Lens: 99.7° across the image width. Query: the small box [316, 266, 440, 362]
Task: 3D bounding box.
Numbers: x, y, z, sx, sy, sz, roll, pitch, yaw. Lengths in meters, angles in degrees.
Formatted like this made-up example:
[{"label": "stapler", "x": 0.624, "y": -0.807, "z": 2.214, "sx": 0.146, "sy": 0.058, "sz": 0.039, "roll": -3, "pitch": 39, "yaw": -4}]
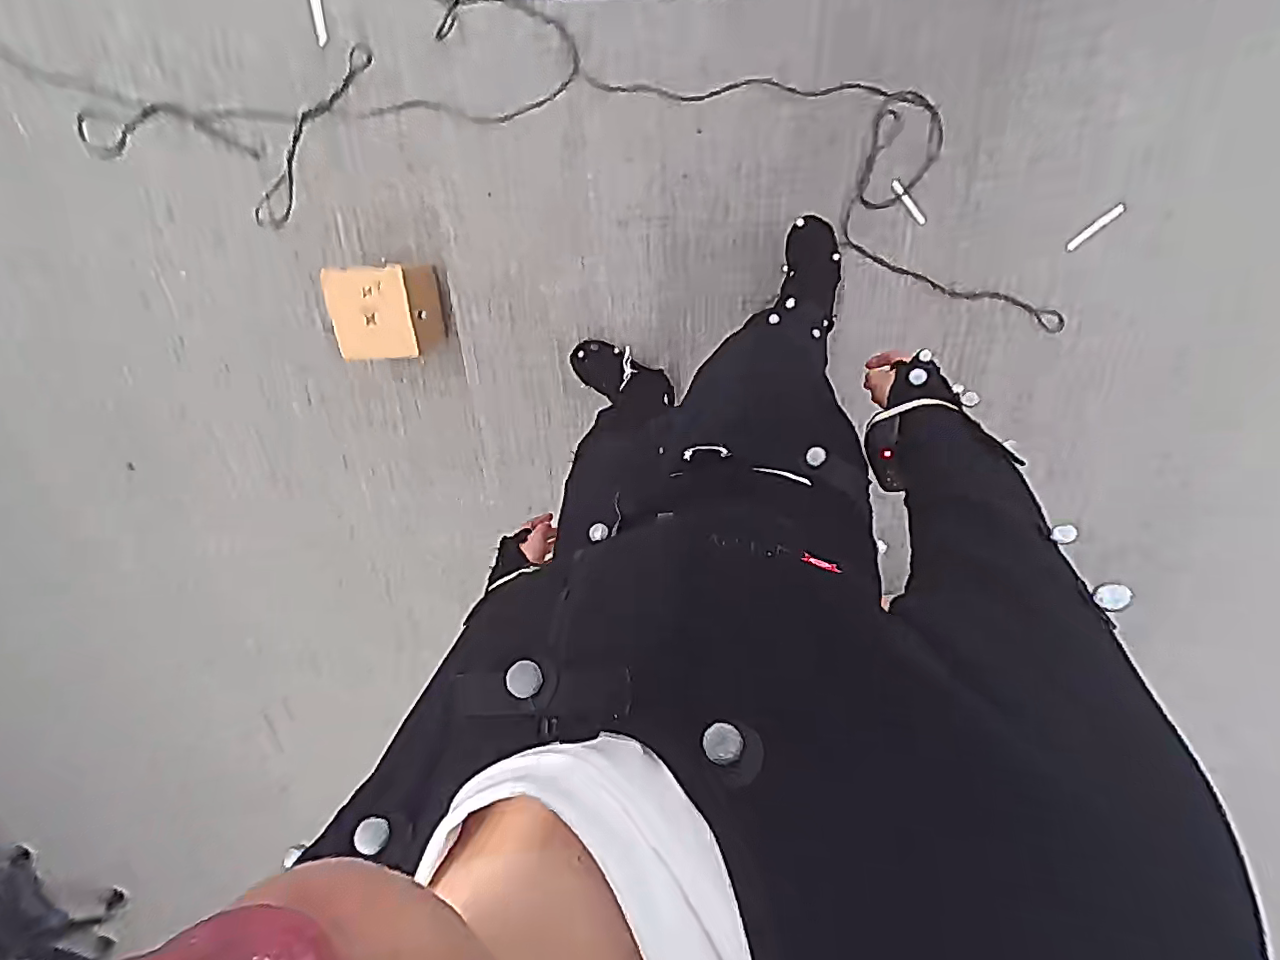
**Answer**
[{"label": "small box", "x": -0.544, "y": -0.357, "z": 1.151, "sx": 0.168, "sy": 0.176, "sz": 0.179, "roll": -2, "pitch": 113, "yaw": 1}]
